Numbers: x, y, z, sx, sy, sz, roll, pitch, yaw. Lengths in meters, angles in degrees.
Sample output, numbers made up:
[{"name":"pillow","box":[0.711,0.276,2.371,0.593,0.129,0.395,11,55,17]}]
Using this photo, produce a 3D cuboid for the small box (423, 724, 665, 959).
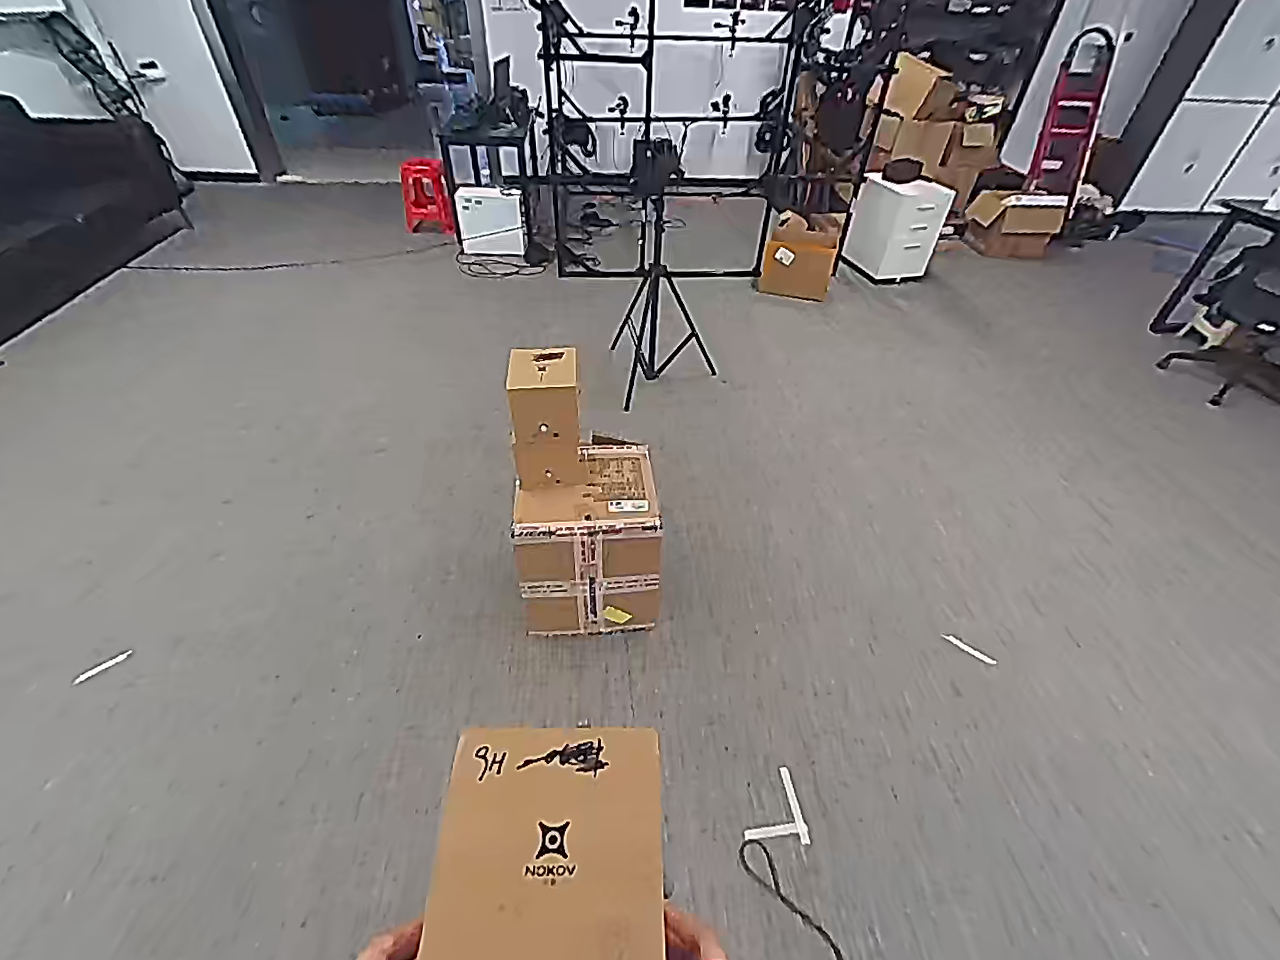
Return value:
[{"name":"small box","box":[-0.065,0.321,0.460,0.168,0.176,0.179,0,51,-2]}]

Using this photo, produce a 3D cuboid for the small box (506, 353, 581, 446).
[{"name":"small box","box":[-0.240,-0.205,1.376,0.168,0.176,0.179,-4,45,-4]}]

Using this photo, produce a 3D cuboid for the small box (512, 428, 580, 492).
[{"name":"small box","box":[-0.257,-0.088,1.491,0.168,0.176,0.179,-6,45,-6]}]
